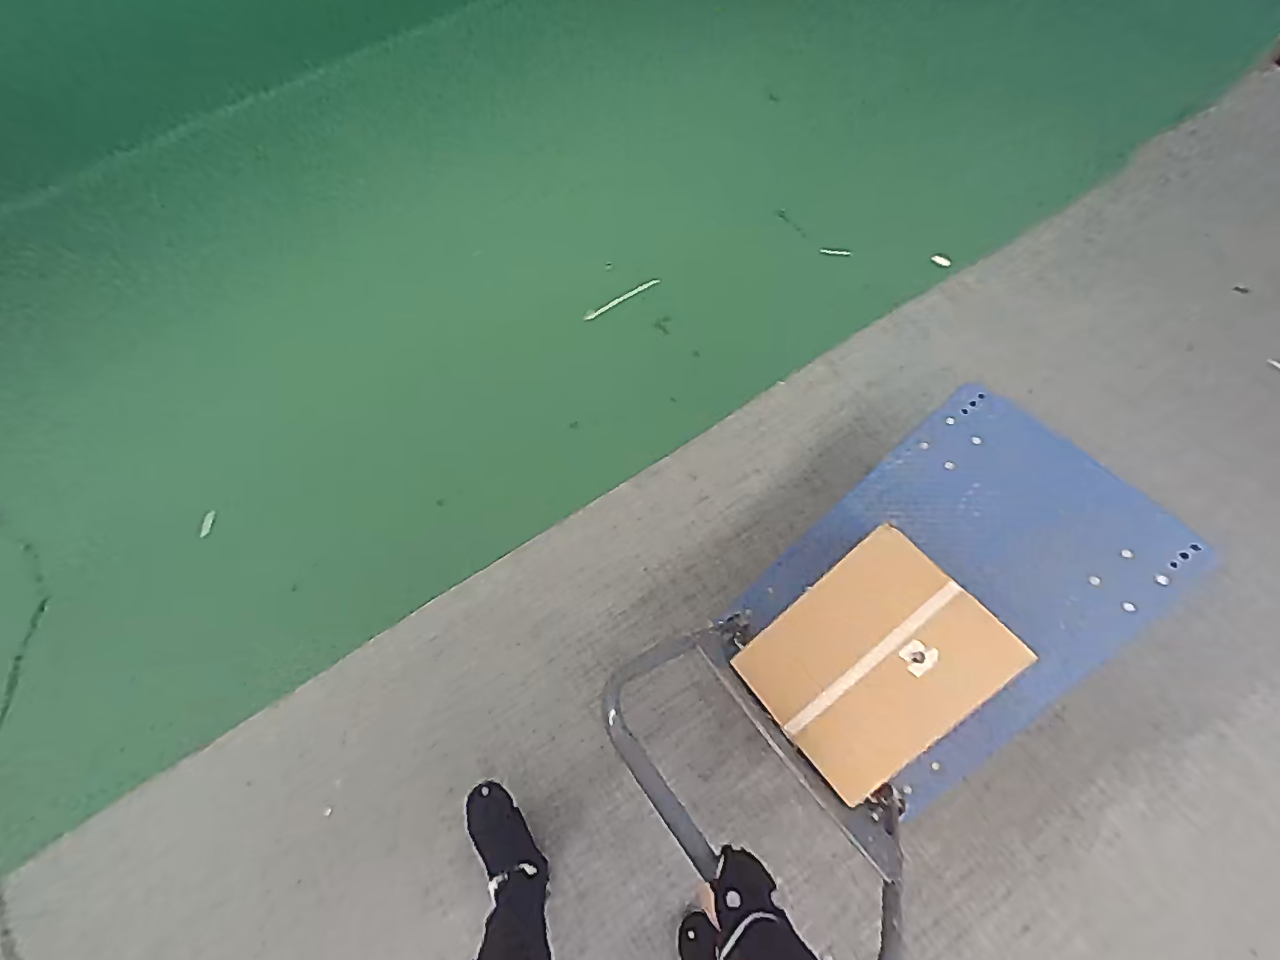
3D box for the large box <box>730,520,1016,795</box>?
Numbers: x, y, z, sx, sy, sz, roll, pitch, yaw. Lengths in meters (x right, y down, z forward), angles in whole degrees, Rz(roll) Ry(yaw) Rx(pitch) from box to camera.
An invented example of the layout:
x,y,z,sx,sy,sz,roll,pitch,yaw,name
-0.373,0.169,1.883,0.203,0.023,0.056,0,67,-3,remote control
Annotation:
x,y,z,sx,sy,sz,roll,pitch,yaw,name
0.458,0.350,1.121,0.408,0.320,0.320,-44,66,7,large box
